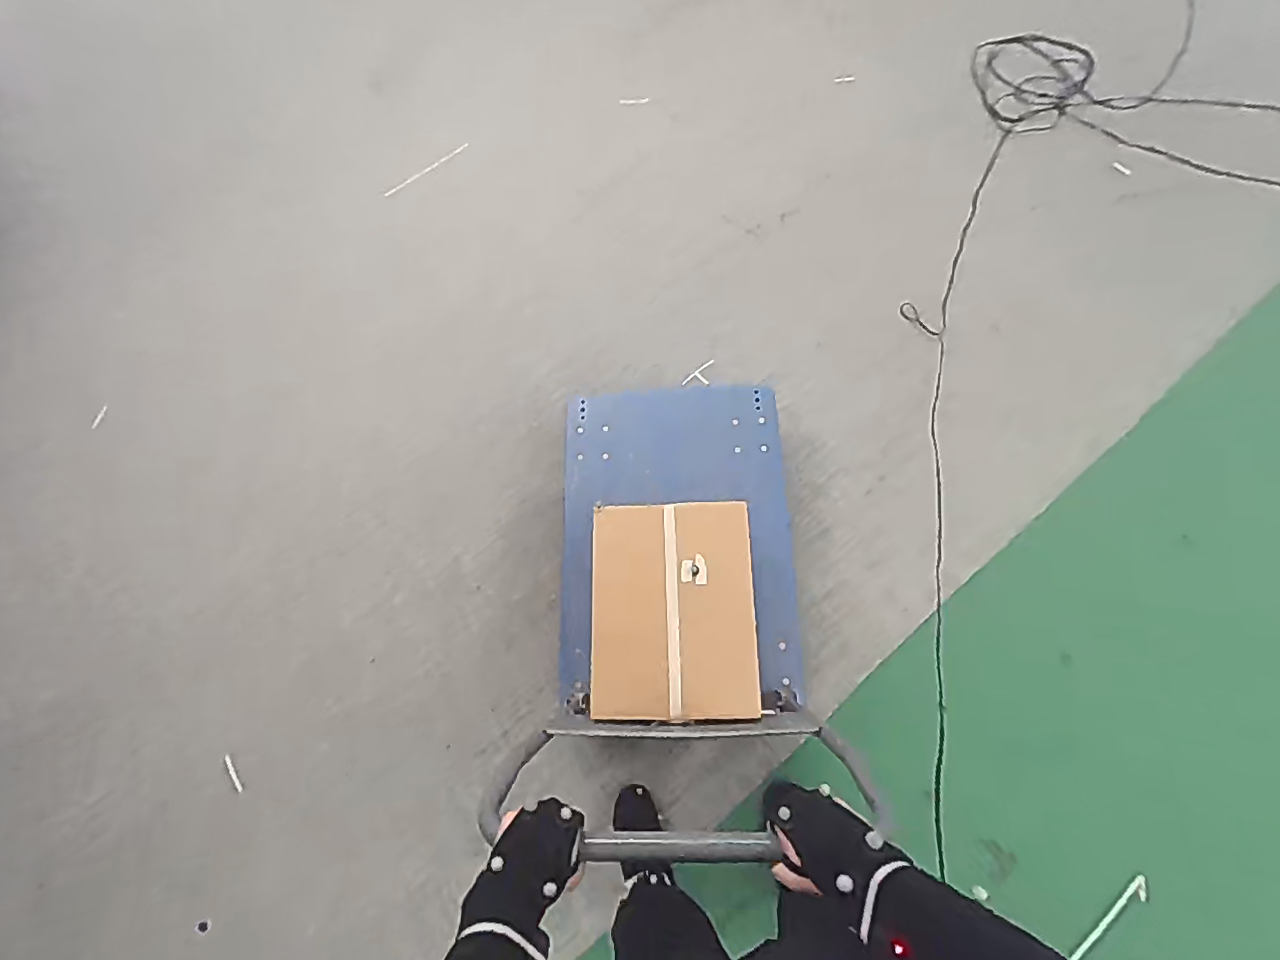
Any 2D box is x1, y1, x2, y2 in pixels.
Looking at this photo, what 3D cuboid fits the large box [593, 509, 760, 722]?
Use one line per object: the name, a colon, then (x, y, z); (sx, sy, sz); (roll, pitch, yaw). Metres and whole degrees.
large box: (0.078, 0.304, 1.198); (0.320, 0.320, 0.408); (-3, 71, 5)
